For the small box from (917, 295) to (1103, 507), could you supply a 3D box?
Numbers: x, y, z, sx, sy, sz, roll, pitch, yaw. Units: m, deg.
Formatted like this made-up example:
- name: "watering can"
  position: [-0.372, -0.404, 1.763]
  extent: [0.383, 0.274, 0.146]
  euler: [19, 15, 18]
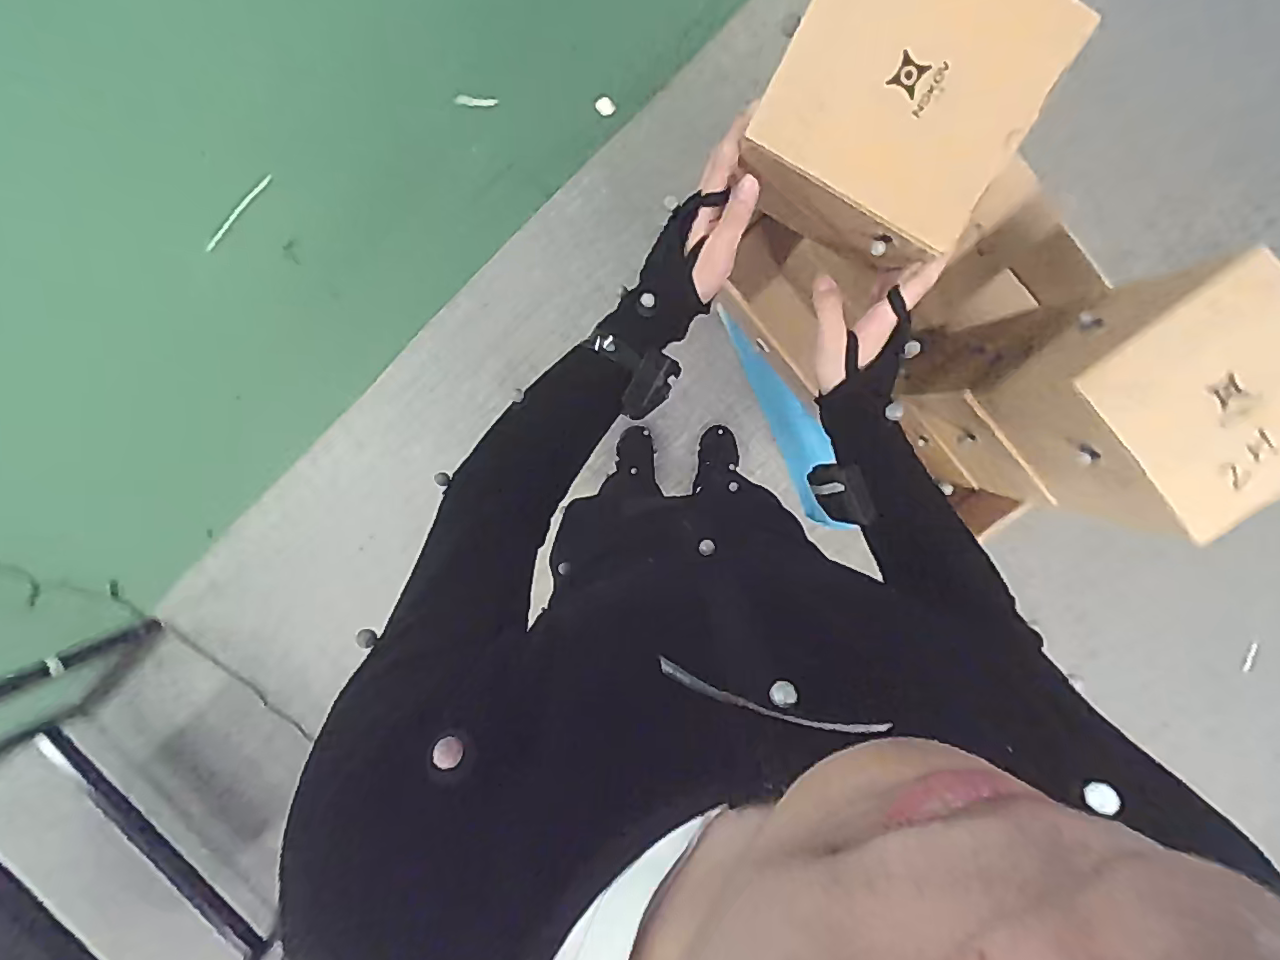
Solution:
- name: "small box"
  position: [0.483, -0.091, 0.666]
  extent: [0.168, 0.176, 0.179]
  euler: [-40, 90, 10]

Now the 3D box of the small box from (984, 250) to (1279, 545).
- name: "small box"
  position: [0.472, -0.069, 0.502]
  extent: [0.168, 0.176, 0.179]
  euler: [-38, 91, 10]

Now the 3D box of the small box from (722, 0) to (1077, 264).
- name: "small box"
  position: [0.182, -0.295, 0.449]
  extent: [0.179, 0.176, 0.168]
  euler: [26, 107, -5]
